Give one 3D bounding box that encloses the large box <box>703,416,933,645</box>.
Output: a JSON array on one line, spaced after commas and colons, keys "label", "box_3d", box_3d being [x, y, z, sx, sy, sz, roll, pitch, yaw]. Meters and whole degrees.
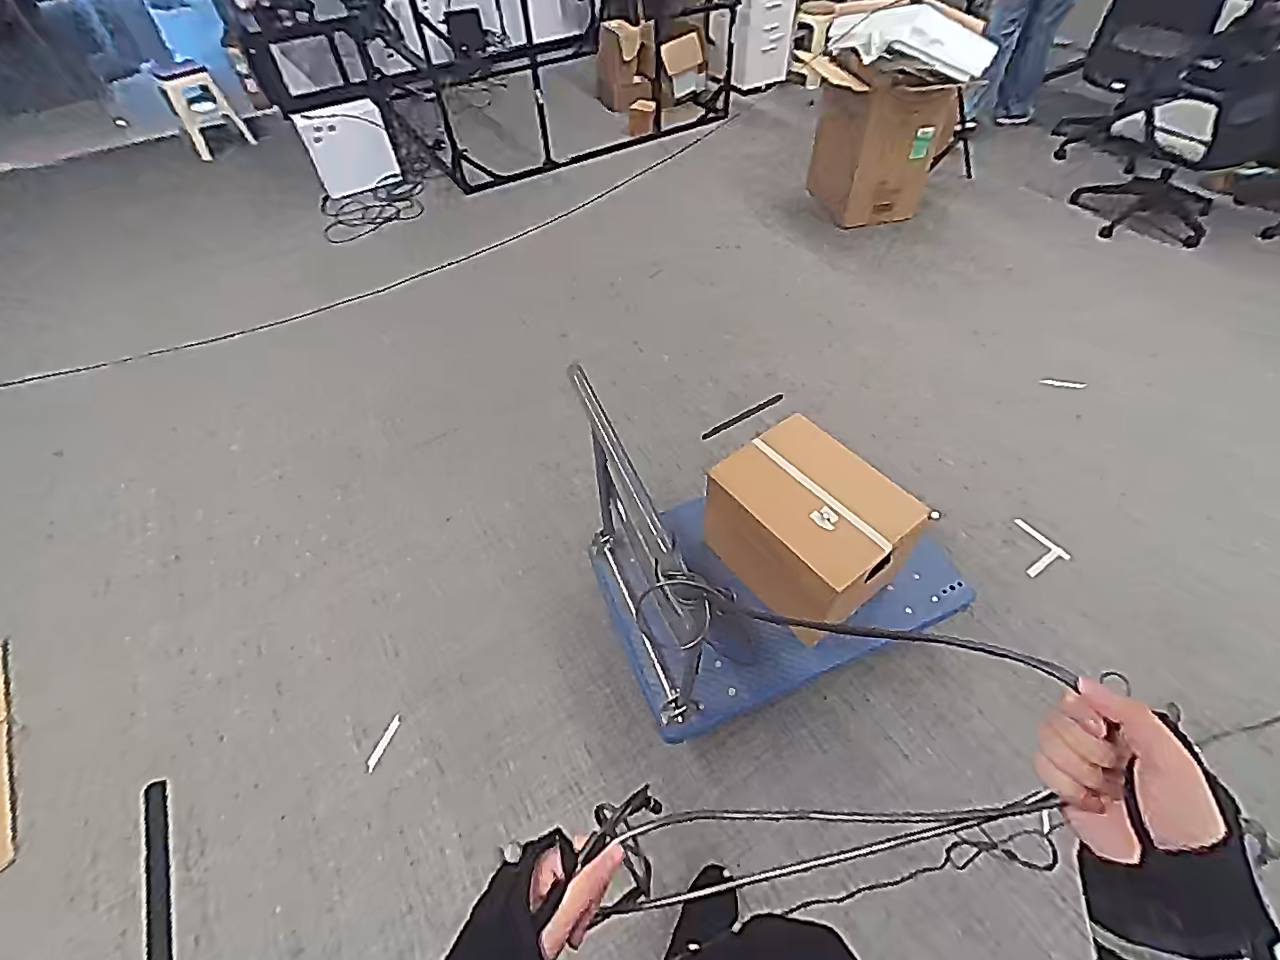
[{"label": "large box", "box_3d": [0.405, 0.120, 1.340, 0.320, 0.320, 0.408, -33, 58, -19]}]
